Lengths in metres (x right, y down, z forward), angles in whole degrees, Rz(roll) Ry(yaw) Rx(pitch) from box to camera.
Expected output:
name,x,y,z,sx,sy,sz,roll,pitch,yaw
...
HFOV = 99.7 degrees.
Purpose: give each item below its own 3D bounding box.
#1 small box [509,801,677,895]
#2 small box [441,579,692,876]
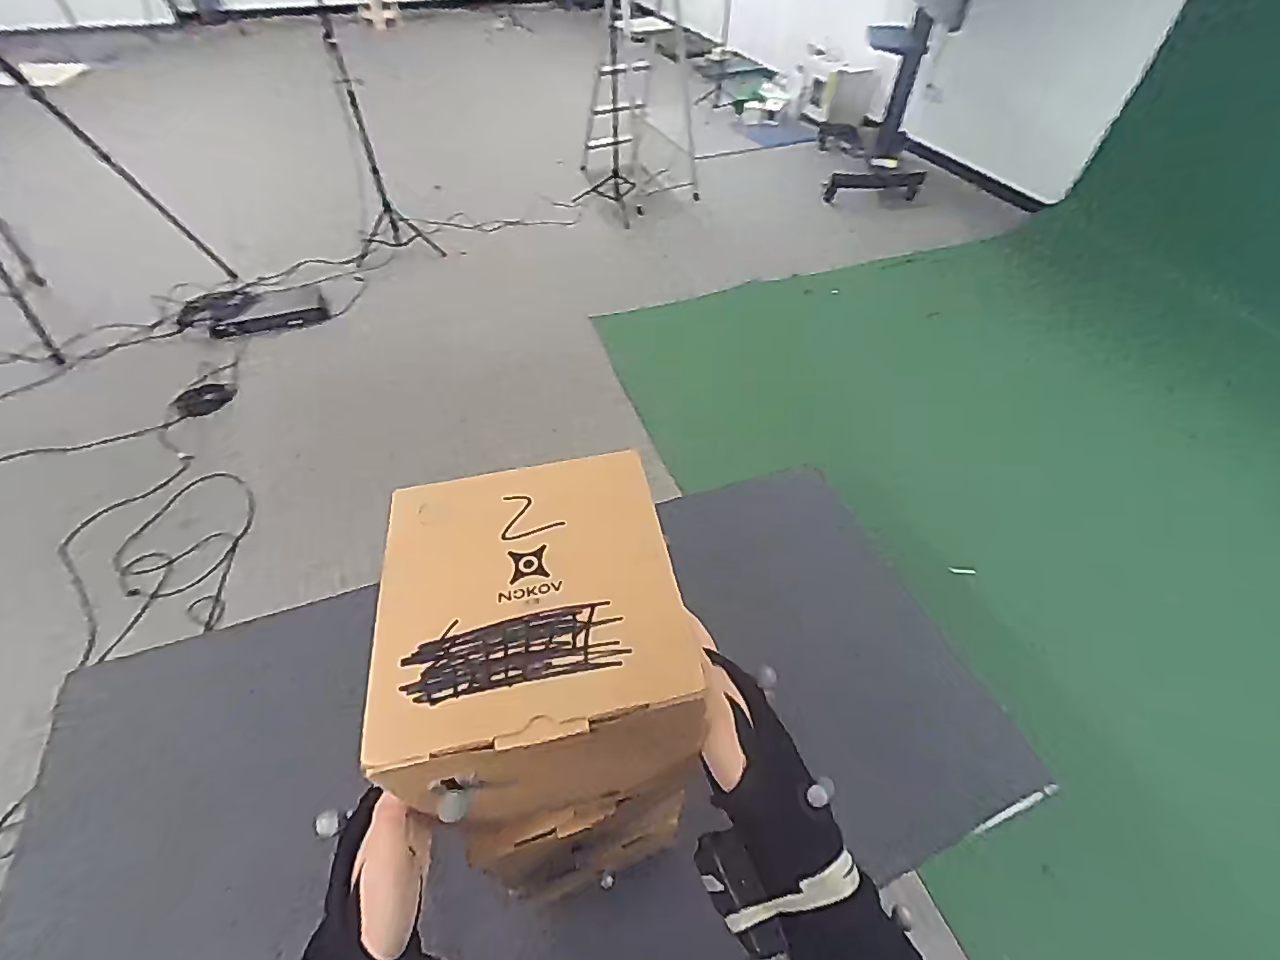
name,x,y,z,sx,sy,sz,roll,pitch,yaw
small box,-0.072,0.335,0.615,0.168,0.176,0.179,-16,52,-15
small box,-0.069,0.225,0.495,0.168,0.176,0.179,-16,53,-15
